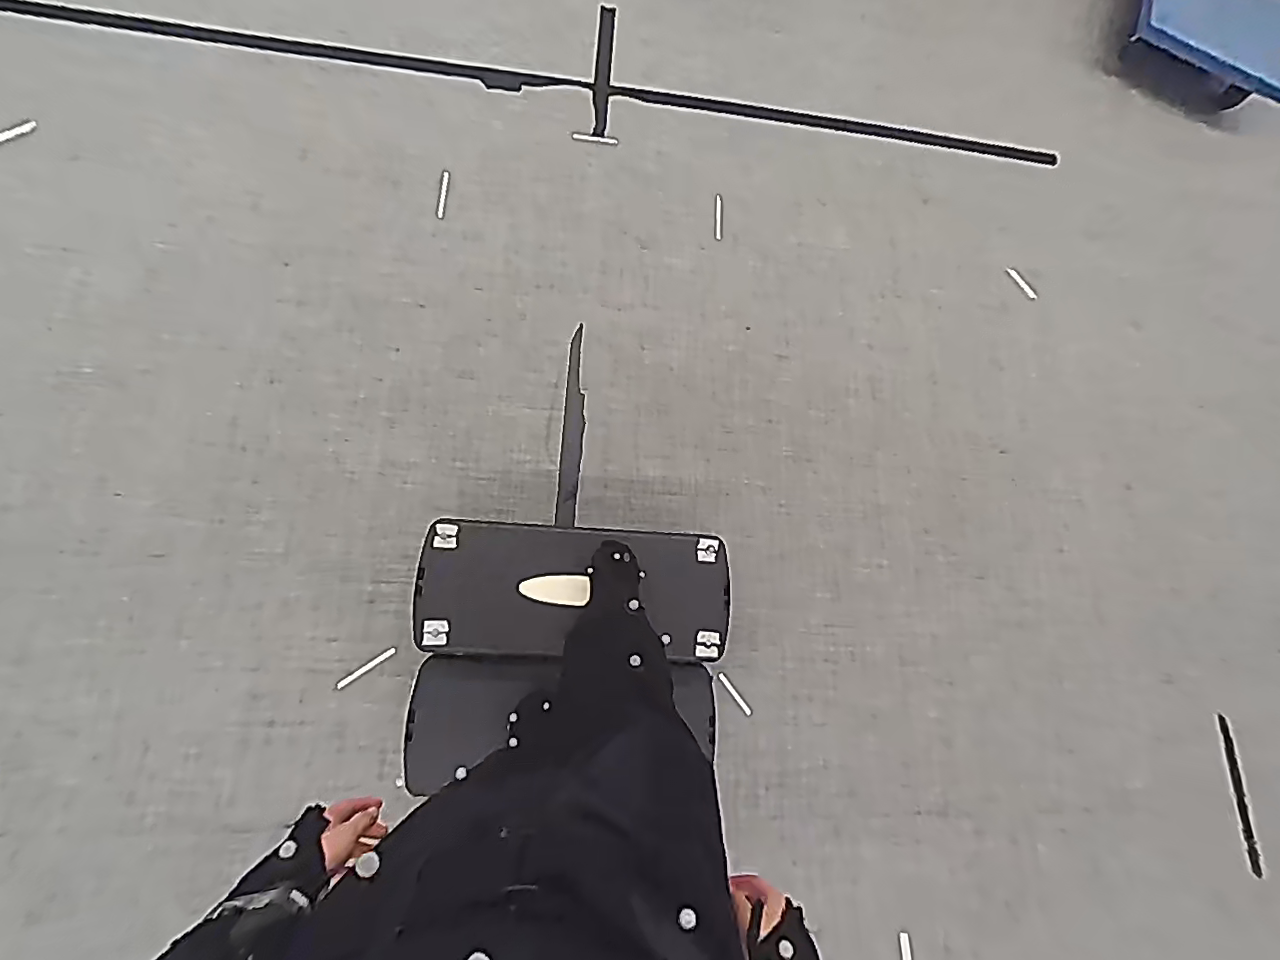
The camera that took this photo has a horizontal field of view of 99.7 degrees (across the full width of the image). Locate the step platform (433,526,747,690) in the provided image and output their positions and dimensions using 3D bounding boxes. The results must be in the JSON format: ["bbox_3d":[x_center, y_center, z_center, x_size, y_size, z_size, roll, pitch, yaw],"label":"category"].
[{"bbox_3d":[-0.104,0.292,1.229,0.684,0.204,0.286,9,74,-7],"label":"step platform"}]
